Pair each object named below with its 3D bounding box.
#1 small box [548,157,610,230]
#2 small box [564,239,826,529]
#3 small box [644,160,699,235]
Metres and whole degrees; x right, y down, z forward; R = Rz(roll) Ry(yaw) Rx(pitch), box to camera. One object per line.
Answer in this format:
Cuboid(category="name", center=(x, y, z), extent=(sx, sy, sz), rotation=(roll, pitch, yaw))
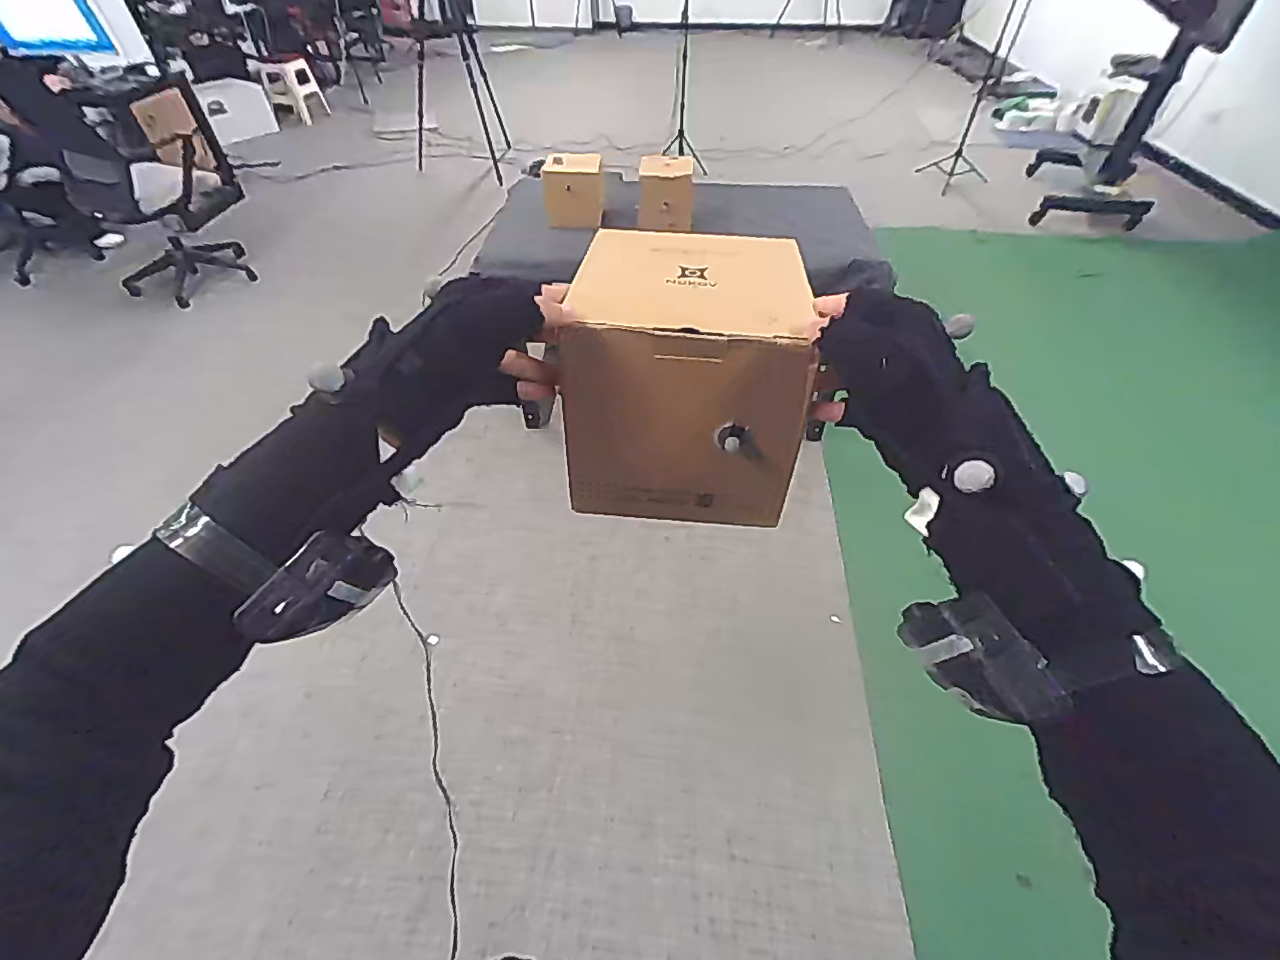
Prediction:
Cuboid(category="small box", center=(-0.191, -0.926, 1.750), extent=(0.179, 0.176, 0.168), rotation=(3, 47, 1))
Cuboid(category="small box", center=(0.040, -0.080, 0.445), extent=(0.168, 0.176, 0.179), rotation=(6, 41, 3))
Cuboid(category="small box", center=(0.101, -0.906, 1.734), extent=(0.168, 0.176, 0.179), rotation=(3, 48, 3))
